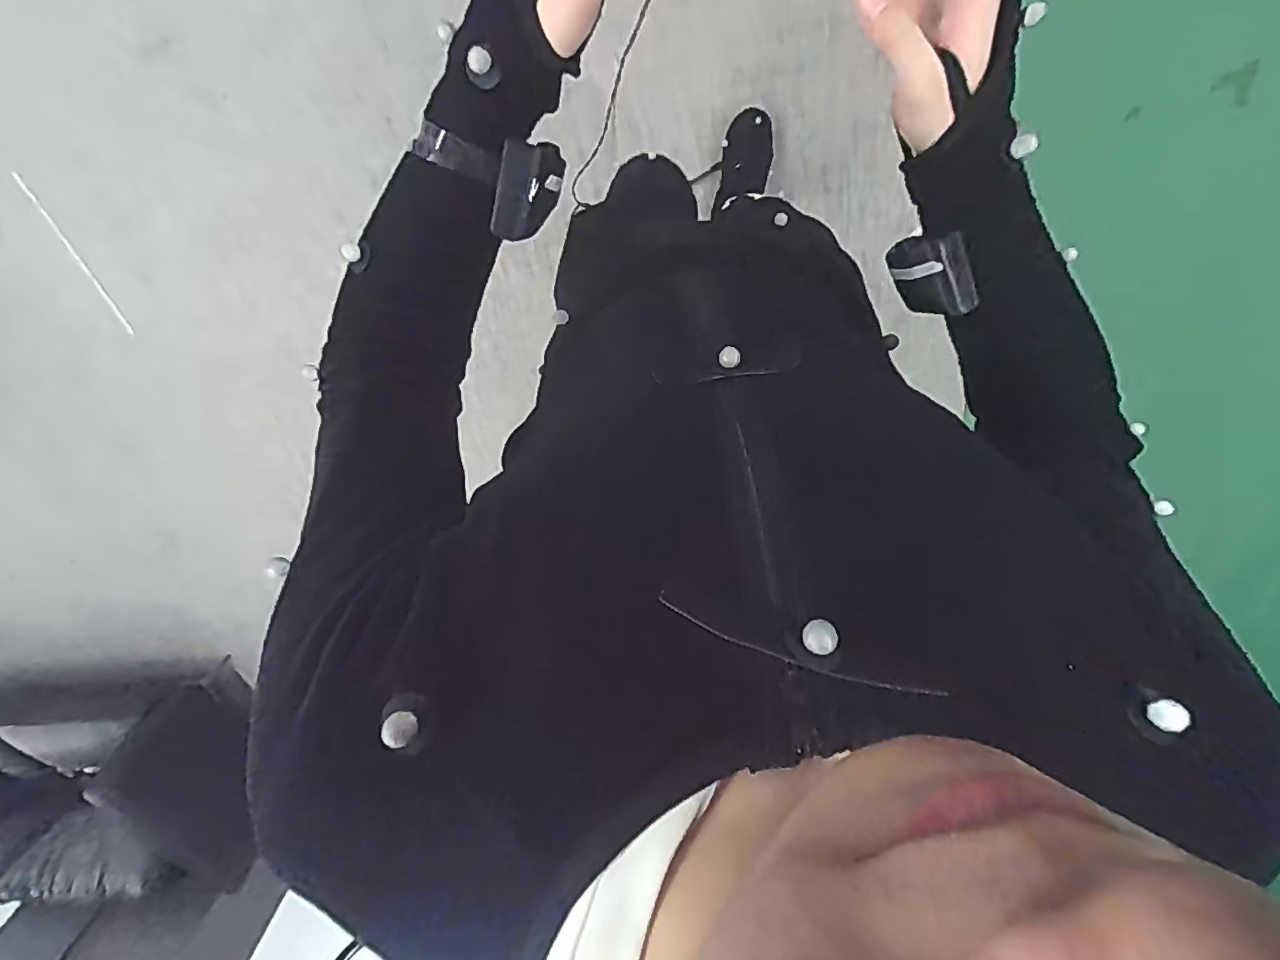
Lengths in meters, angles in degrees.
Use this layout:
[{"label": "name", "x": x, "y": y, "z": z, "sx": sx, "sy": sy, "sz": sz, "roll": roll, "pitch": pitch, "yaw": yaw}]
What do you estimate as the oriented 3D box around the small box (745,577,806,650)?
[{"label": "small box", "x": 0.434, "y": 0.429, "z": 1.751, "sx": 0.179, "sy": 0.176, "sz": 0.168, "roll": -3, "pitch": 122, "yaw": 10}]
